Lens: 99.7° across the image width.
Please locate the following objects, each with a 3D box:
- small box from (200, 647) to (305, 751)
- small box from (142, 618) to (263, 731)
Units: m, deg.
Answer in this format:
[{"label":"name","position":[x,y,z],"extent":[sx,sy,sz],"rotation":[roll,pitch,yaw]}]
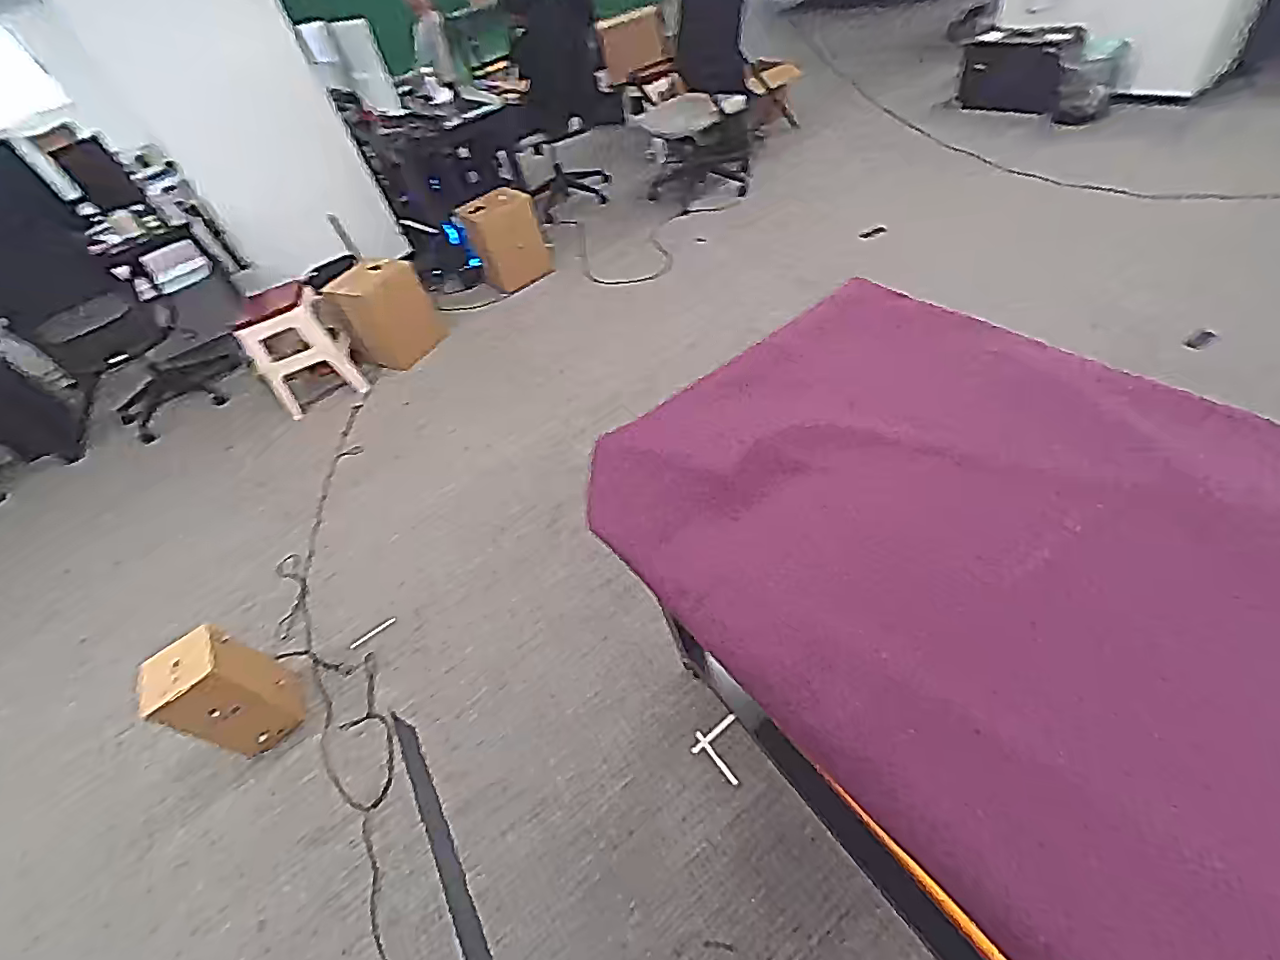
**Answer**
[{"label":"small box","position":[-1.052,0.598,1.470],"extent":[0.168,0.176,0.179],"rotation":[-34,49,-15]},{"label":"small box","position":[-1.087,0.490,1.351],"extent":[0.168,0.176,0.179],"rotation":[-36,49,-15]}]
